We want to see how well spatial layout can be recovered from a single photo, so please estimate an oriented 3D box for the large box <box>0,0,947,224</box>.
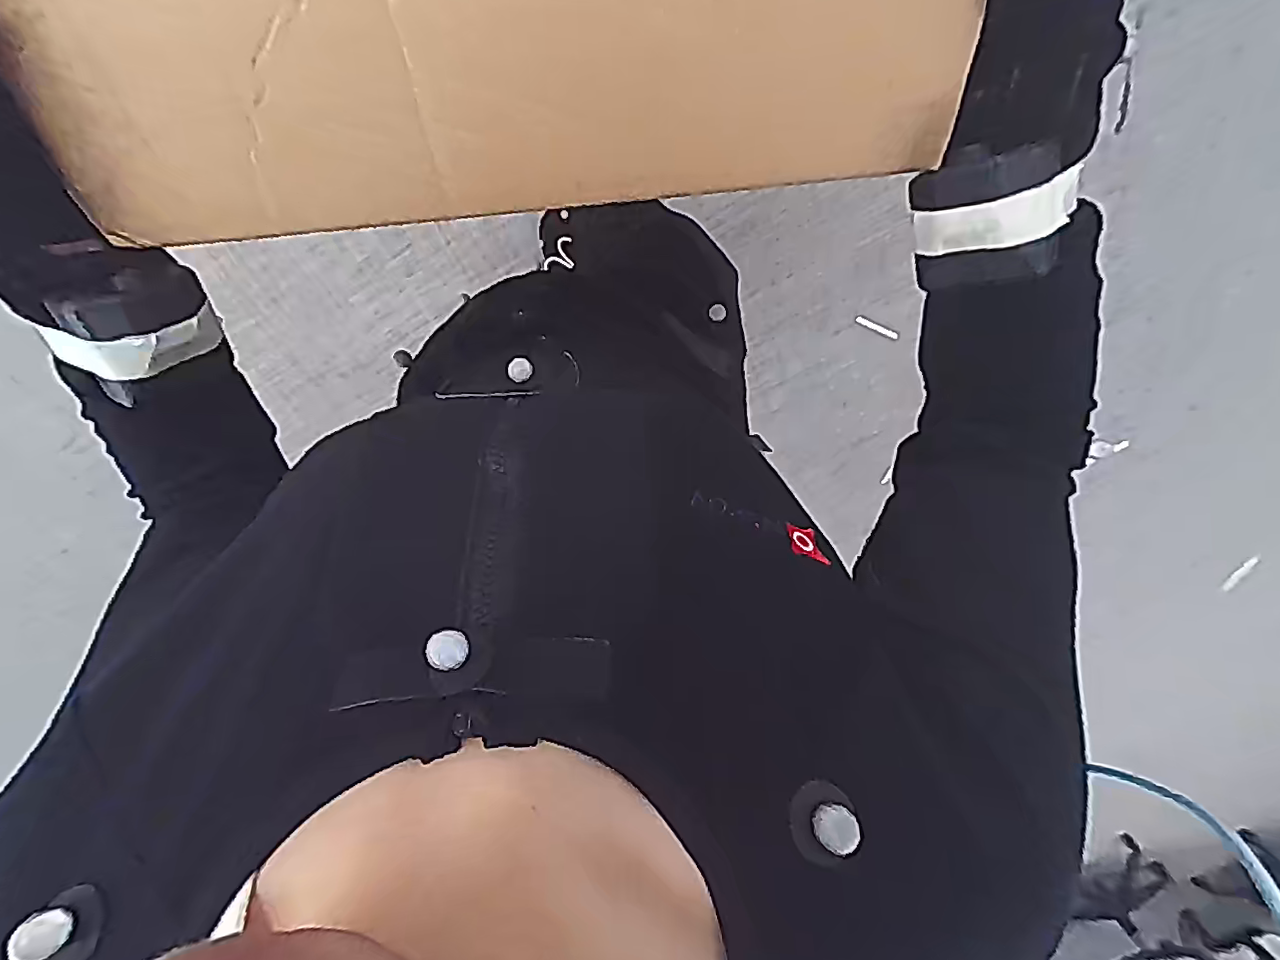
[{"bbox_3d":[-0.082,-0.362,0.264,0.408,0.320,0.320,-6,135,0],"label":"large box"}]
